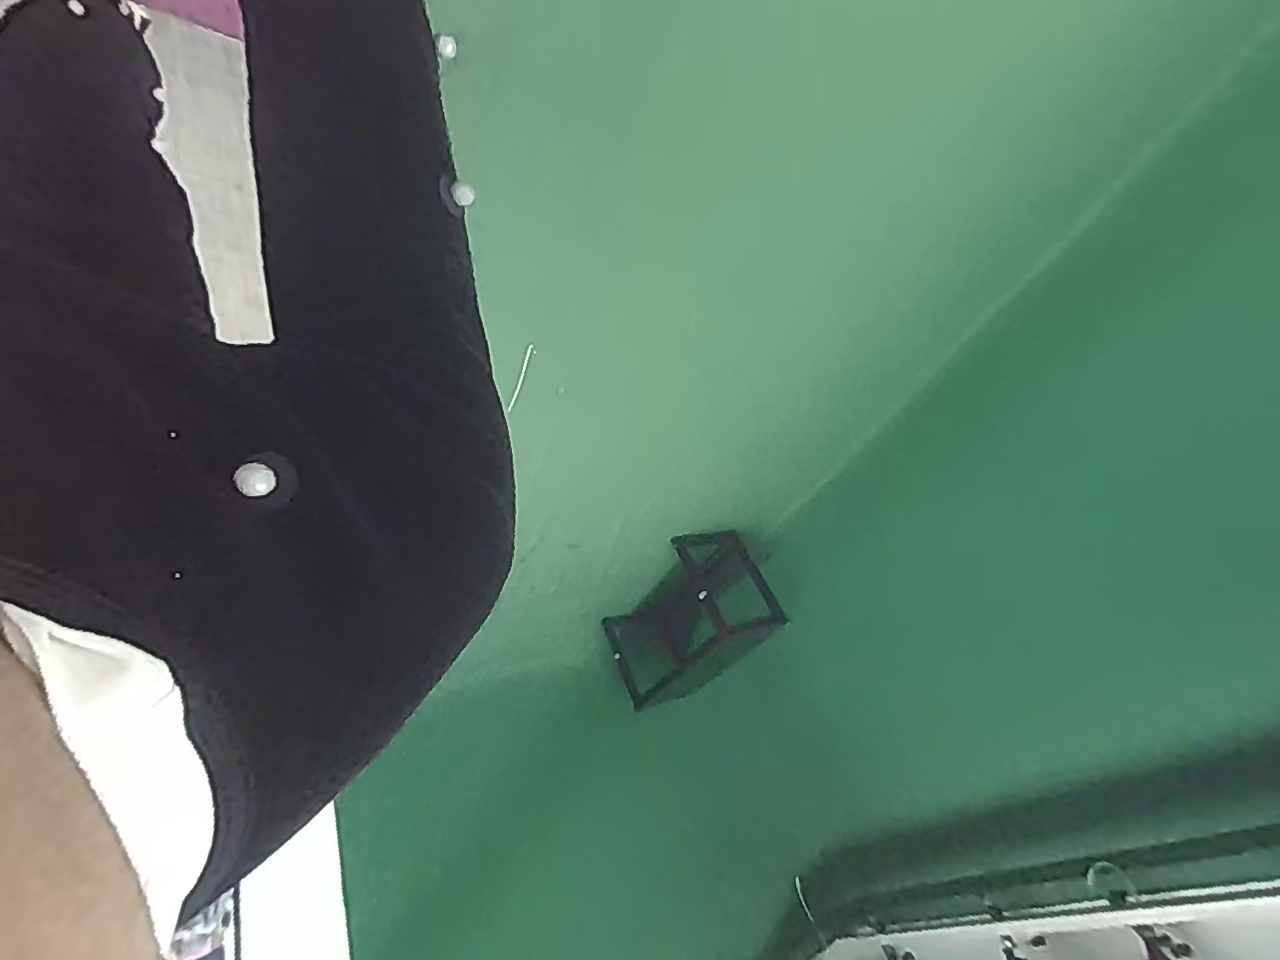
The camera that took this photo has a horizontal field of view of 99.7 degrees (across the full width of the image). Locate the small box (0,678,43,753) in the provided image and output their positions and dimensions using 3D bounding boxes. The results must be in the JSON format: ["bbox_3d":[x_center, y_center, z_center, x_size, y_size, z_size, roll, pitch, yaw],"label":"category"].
[{"bbox_3d":[-1.783,0.660,1.478,0.168,0.176,0.179,-1,143,-36],"label":"small box"}]
